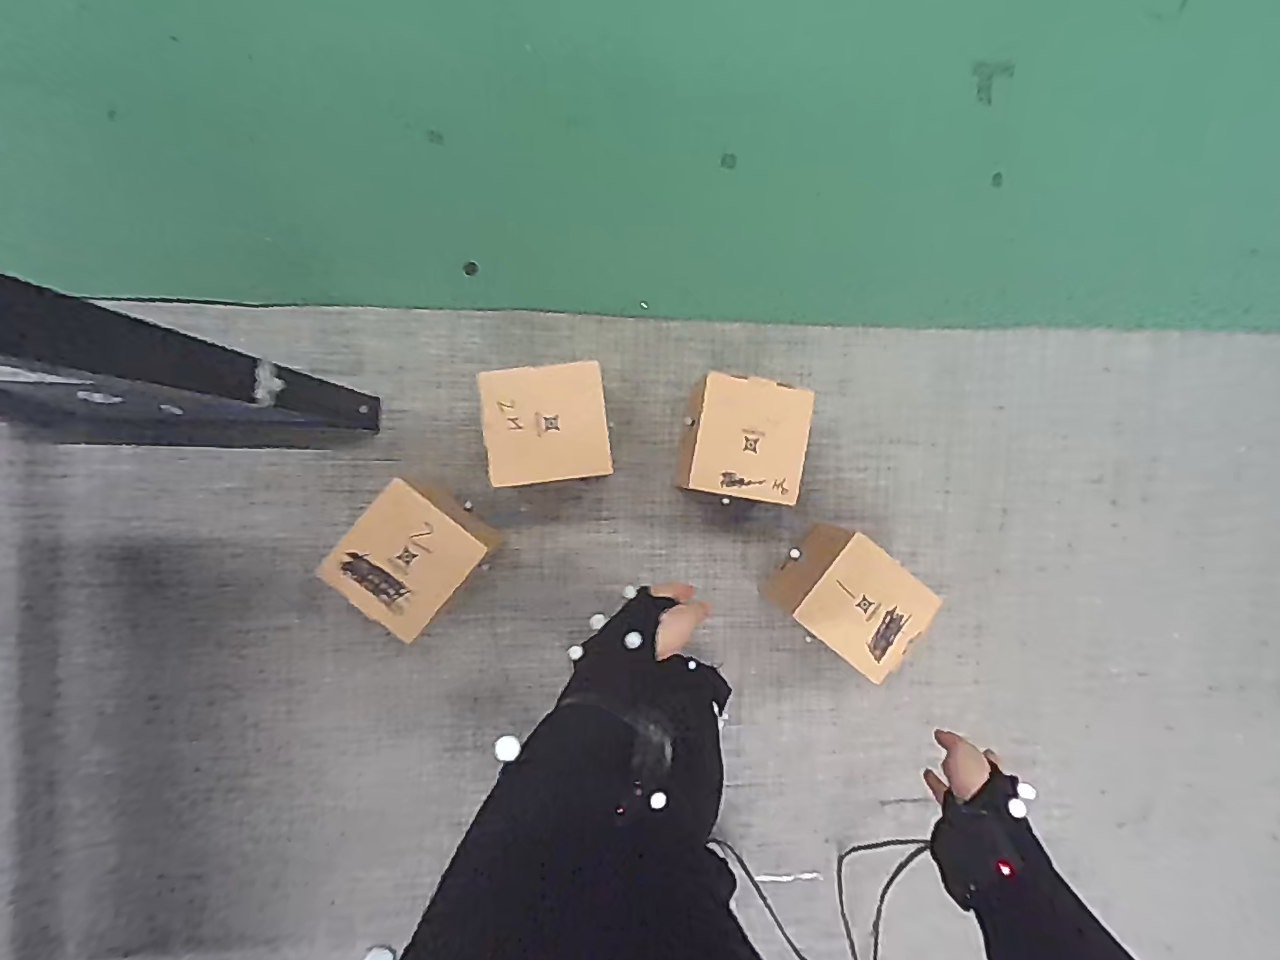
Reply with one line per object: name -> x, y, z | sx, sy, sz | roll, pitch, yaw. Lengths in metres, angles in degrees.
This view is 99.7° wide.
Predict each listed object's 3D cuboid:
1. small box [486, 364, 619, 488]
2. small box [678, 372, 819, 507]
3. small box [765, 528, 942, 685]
small box -> -0.131, -0.080, 0.848 | 0.179, 0.176, 0.168 | -7, 91, -5
small box -> 0.164, -0.060, 0.872 | 0.168, 0.176, 0.179 | 10, 90, -6
small box -> 0.339, 0.193, 0.892 | 0.179, 0.176, 0.168 | 40, 88, -3
